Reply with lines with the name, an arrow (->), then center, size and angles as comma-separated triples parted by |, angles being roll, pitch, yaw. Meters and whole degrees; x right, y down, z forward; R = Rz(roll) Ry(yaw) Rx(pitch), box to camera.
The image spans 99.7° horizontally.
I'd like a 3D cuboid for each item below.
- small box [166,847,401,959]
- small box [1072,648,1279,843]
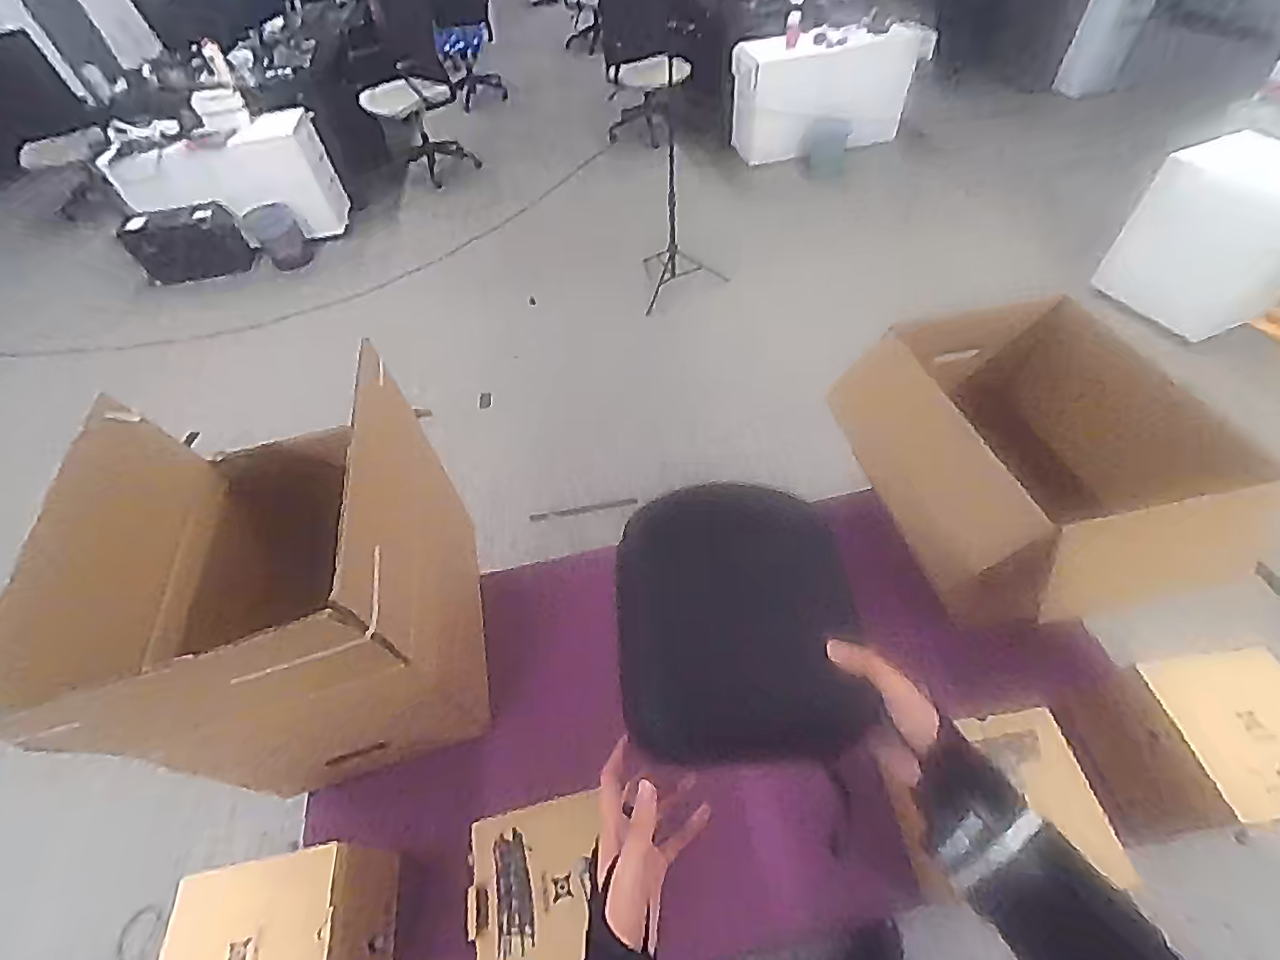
small box -> -0.403, 0.546, 0.621 | 0.179, 0.176, 0.168 | -11, 51, -4
small box -> 0.702, 0.333, 0.675 | 0.168, 0.176, 0.179 | -7, 51, 1
